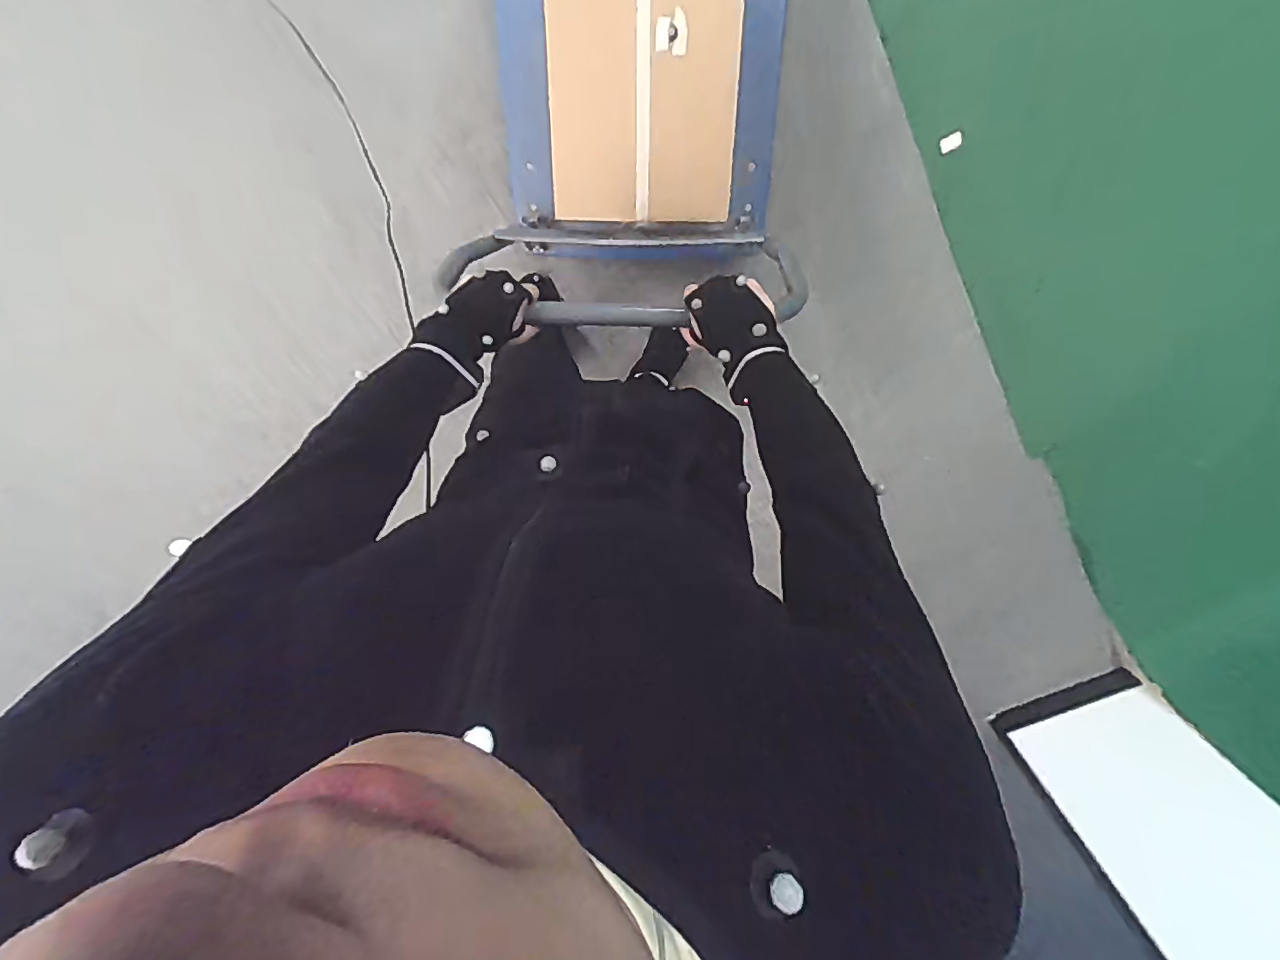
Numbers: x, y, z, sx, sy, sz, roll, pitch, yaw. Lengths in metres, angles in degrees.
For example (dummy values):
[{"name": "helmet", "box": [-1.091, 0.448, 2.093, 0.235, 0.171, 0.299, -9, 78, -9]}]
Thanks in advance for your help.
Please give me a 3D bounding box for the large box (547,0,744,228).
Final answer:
[{"name": "large box", "box": [0.016, -0.703, 1.026, 0.320, 0.320, 0.408, 2, 115, 2]}]
